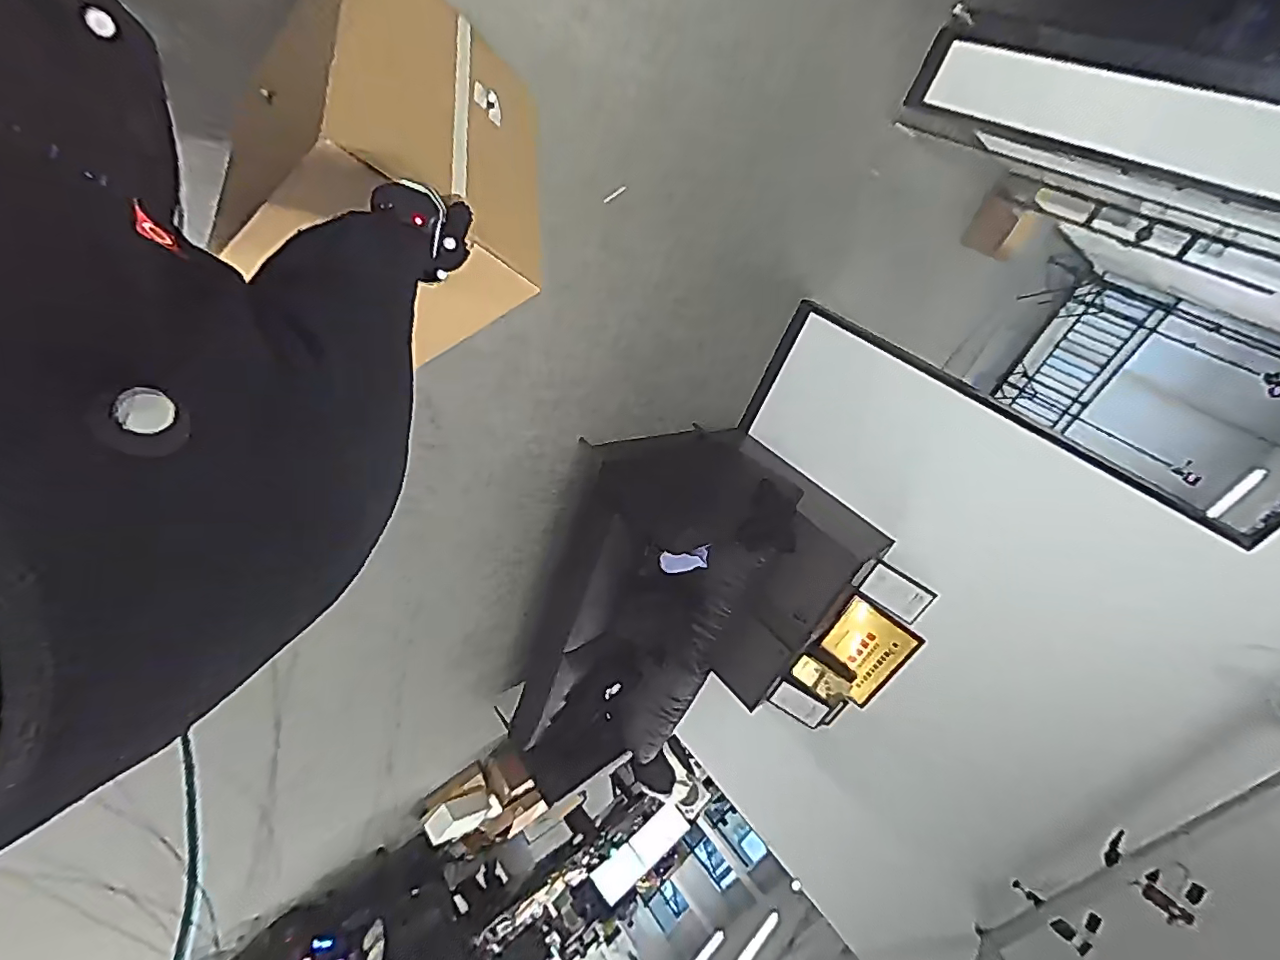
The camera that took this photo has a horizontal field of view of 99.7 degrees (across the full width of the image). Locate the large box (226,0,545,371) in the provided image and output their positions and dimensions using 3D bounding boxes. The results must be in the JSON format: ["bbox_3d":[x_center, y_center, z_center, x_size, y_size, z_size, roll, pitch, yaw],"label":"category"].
[{"bbox_3d":[-0.371,-0.444,0.822,0.320,0.408,0.320,-20,156,31],"label":"large box"}]
